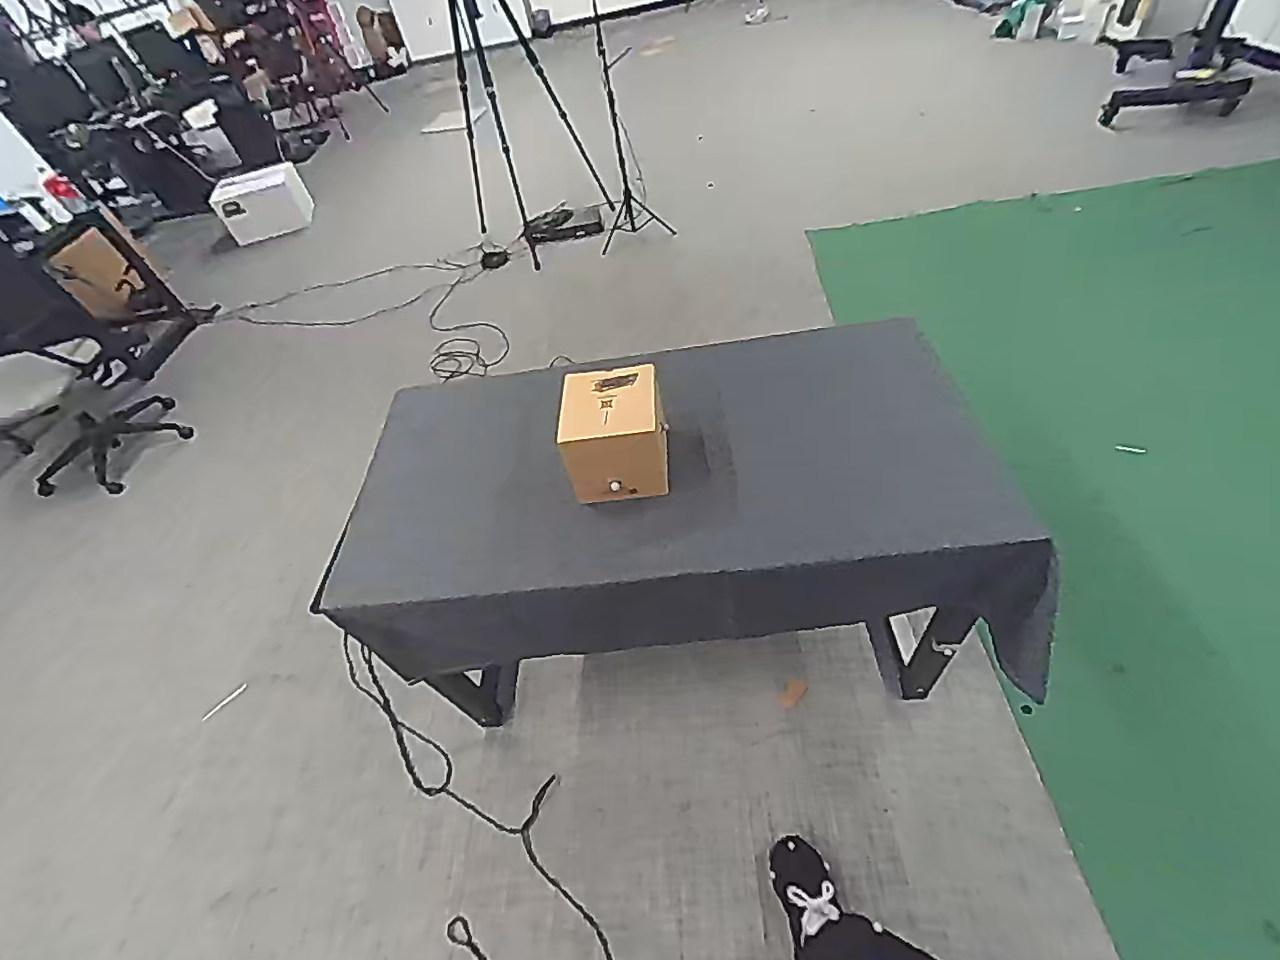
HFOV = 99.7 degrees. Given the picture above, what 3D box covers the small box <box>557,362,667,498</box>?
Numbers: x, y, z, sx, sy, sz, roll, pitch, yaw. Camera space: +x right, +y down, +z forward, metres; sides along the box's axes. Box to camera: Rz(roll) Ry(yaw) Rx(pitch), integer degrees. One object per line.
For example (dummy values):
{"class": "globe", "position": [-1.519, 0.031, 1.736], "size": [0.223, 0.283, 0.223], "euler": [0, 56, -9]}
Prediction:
{"class": "small box", "position": [-0.042, -0.089, 0.988], "size": [0.168, 0.176, 0.179], "euler": [-6, 49, 7]}
